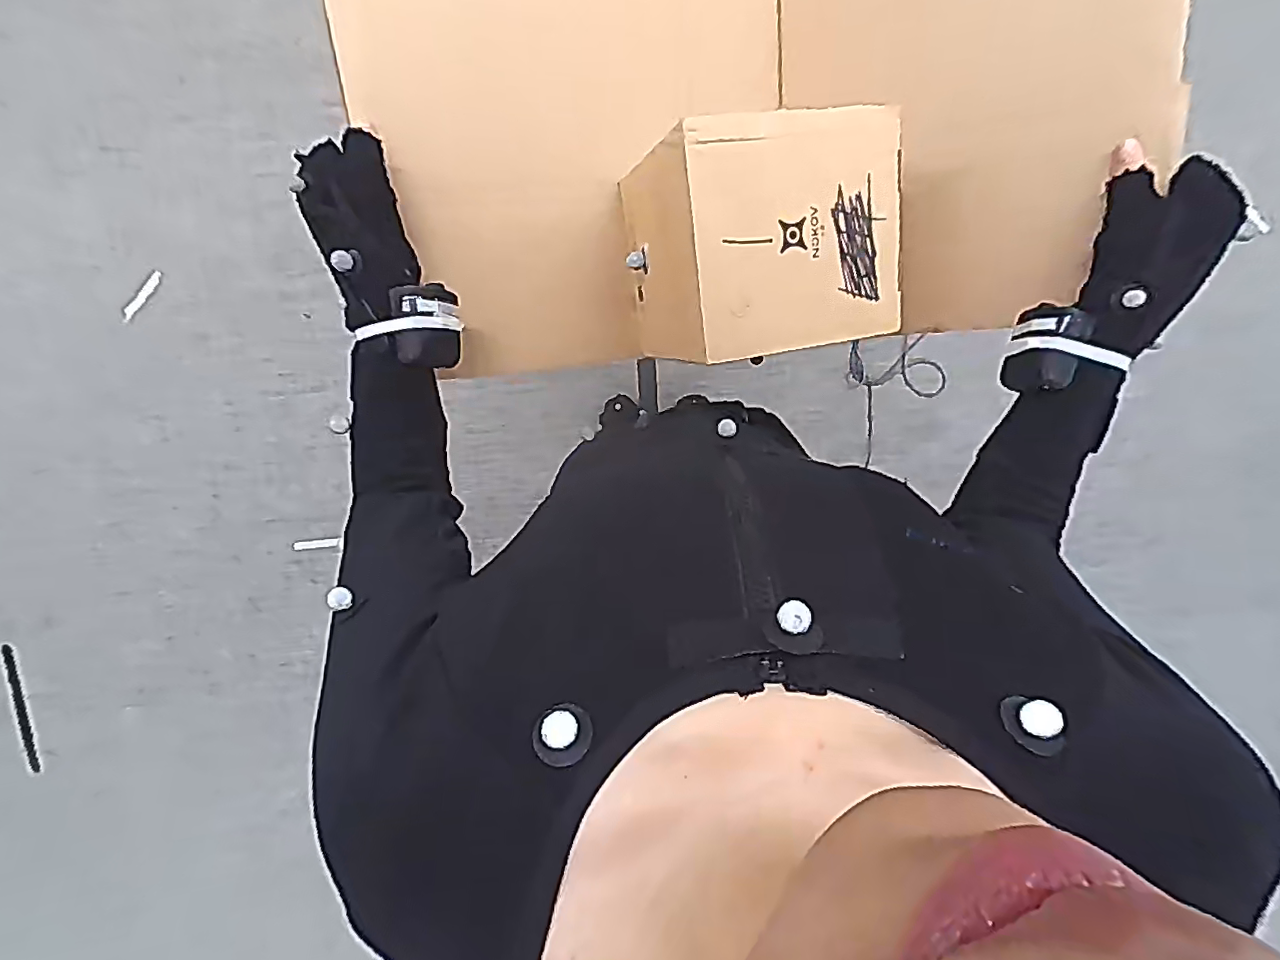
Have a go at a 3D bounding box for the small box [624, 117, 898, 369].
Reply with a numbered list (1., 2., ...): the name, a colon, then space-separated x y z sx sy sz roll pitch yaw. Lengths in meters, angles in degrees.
1. small box: 0.099 -0.198 0.482 0.179 0.176 0.168 -13 107 -13
